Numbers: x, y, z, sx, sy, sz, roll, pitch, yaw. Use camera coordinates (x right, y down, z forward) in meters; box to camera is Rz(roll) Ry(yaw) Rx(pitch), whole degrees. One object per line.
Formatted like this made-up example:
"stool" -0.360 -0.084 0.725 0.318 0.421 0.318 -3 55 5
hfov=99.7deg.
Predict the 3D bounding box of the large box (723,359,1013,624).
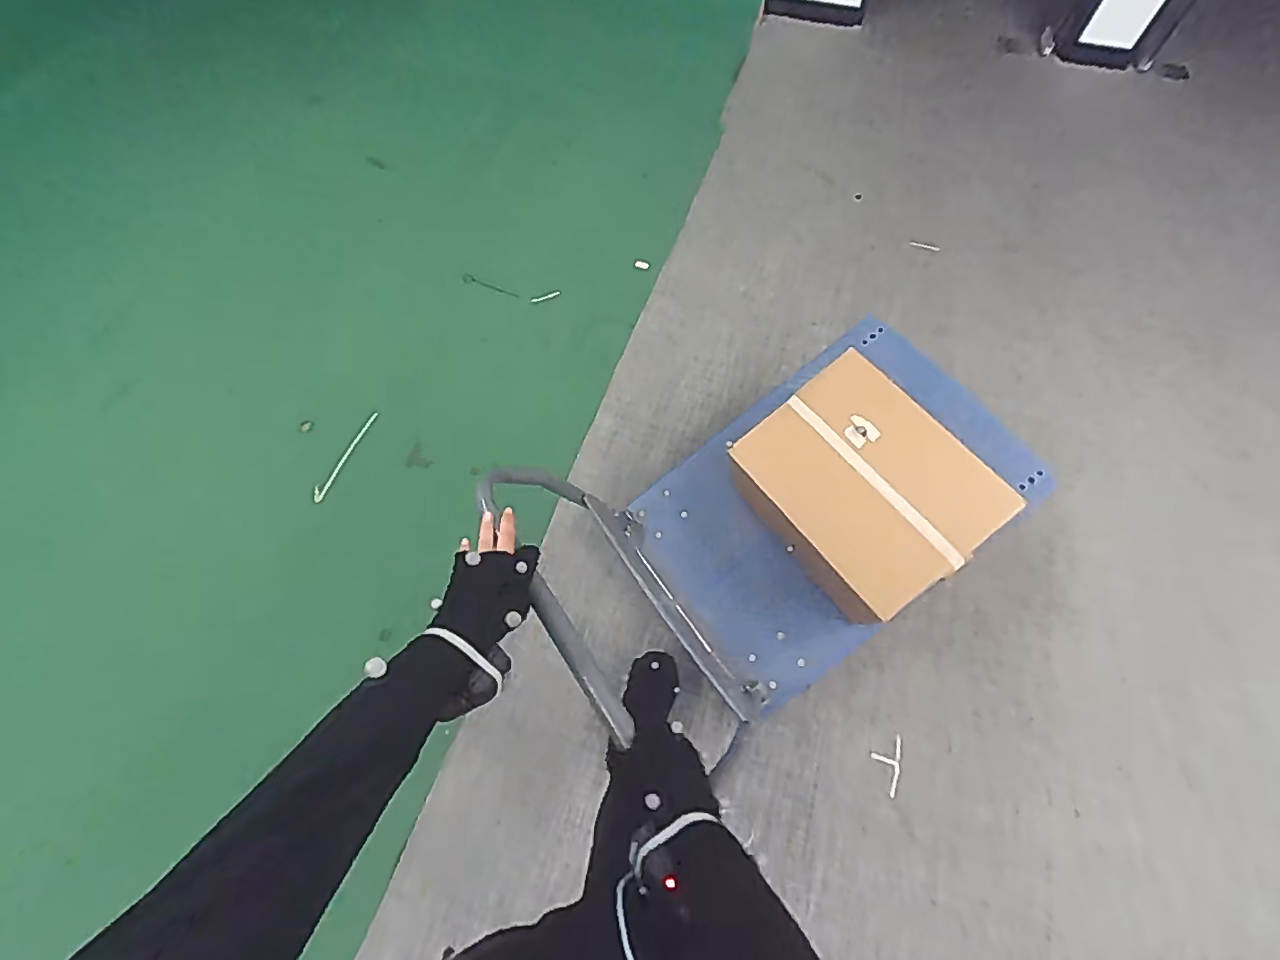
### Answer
"large box" 0.430 0.041 1.112 0.320 0.320 0.408 -39 68 0
